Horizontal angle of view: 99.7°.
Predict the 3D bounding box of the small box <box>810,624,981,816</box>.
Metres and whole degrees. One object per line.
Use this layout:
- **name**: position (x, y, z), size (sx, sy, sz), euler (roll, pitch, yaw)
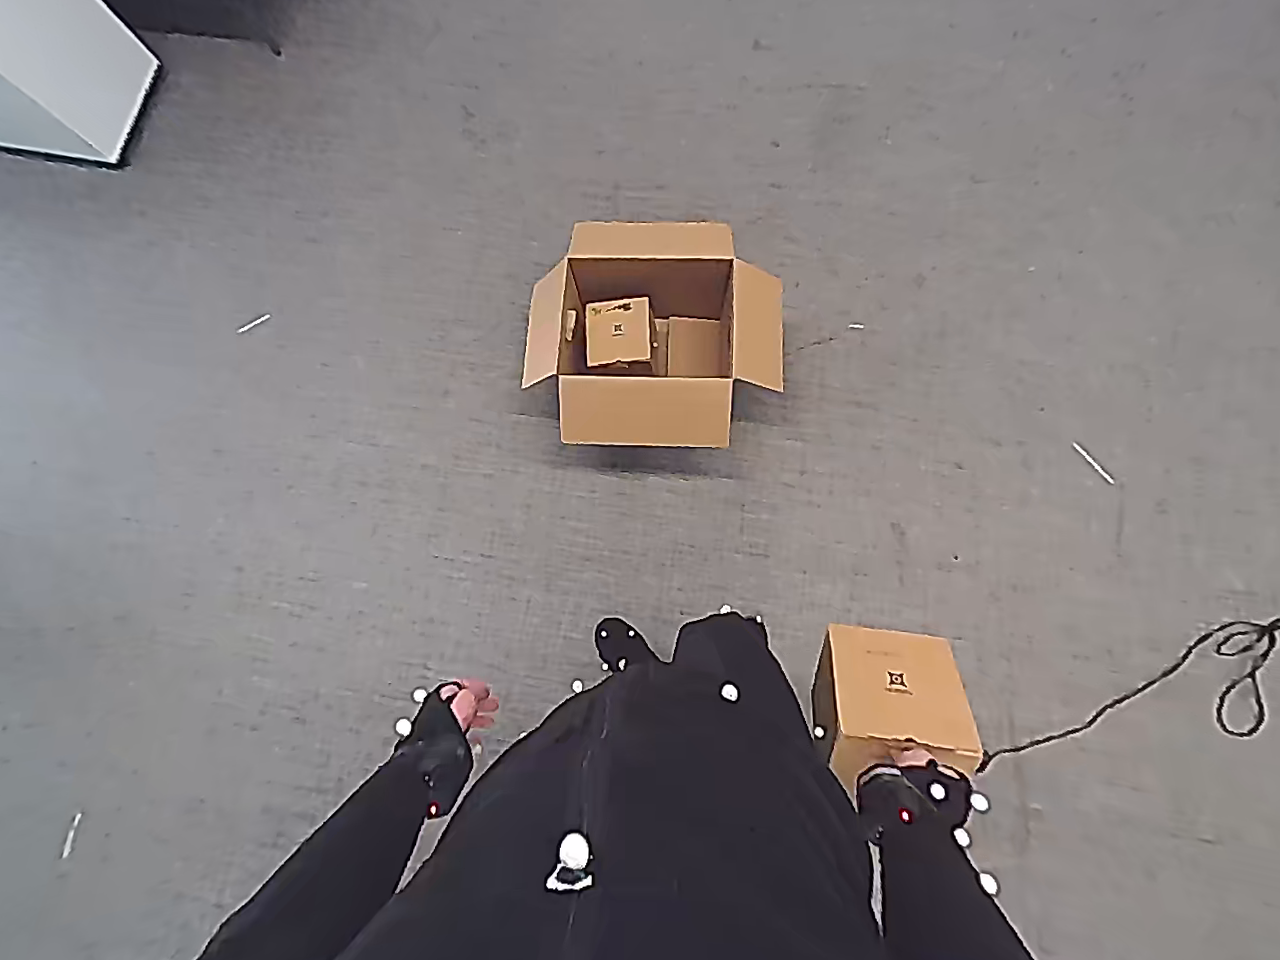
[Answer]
- **small box**: position (0.337, 0.331, 0.753), size (0.168, 0.176, 0.179), euler (5, 34, 9)
